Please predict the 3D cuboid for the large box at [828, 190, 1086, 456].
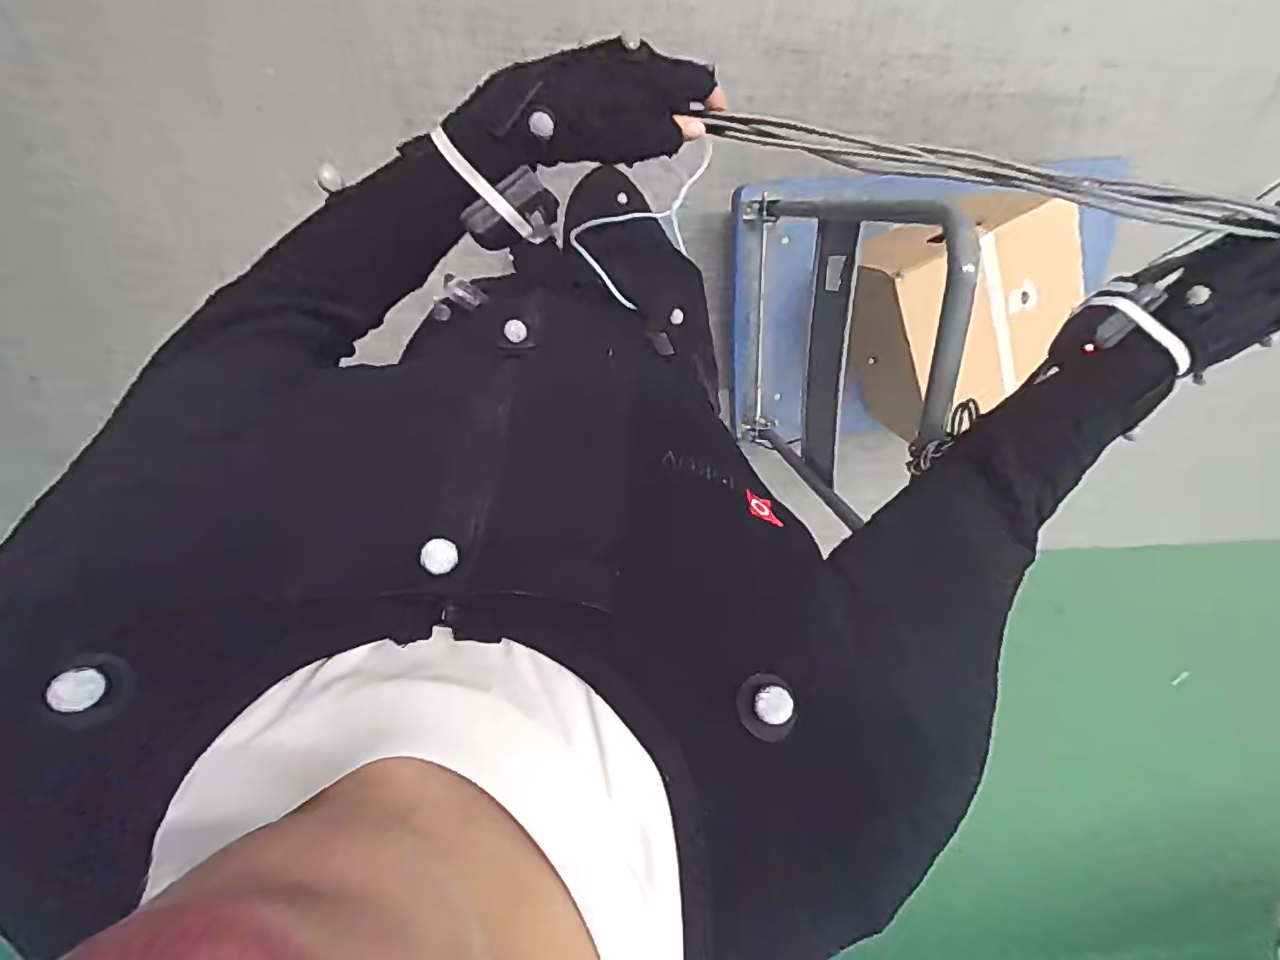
[{"bbox_3d":[0.643,-0.330,1.131,0.320,0.320,0.408,-25,116,7],"label":"large box"}]
